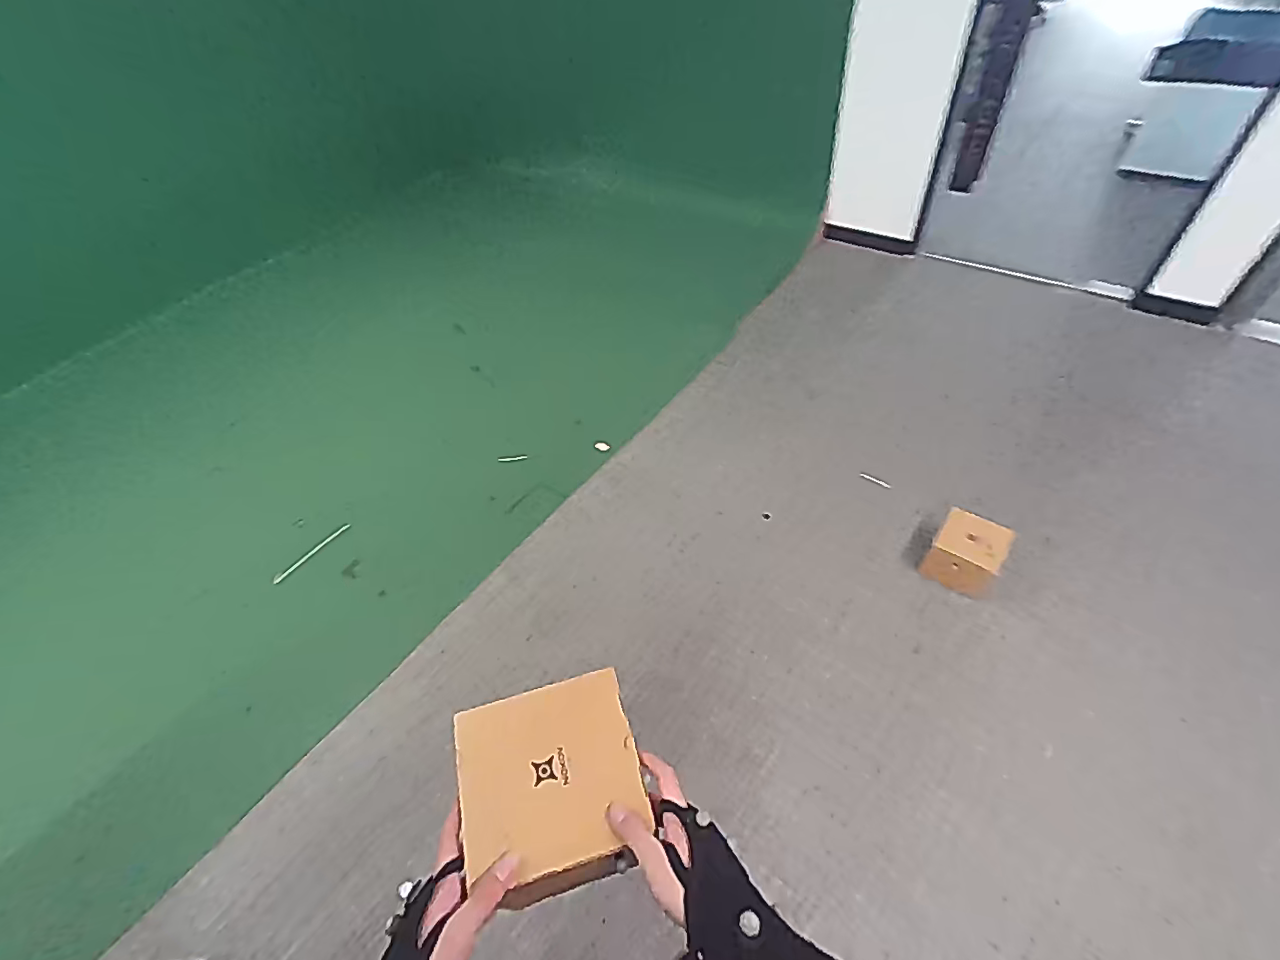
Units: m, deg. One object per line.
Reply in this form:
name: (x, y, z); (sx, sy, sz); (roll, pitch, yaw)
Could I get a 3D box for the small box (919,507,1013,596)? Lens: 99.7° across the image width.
small box: (0.969, 0.218, 1.621); (0.179, 0.176, 0.168); (29, 61, 28)

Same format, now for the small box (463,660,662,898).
small box: (-0.080, 0.326, 0.587); (0.179, 0.176, 0.168); (-12, 50, -10)
